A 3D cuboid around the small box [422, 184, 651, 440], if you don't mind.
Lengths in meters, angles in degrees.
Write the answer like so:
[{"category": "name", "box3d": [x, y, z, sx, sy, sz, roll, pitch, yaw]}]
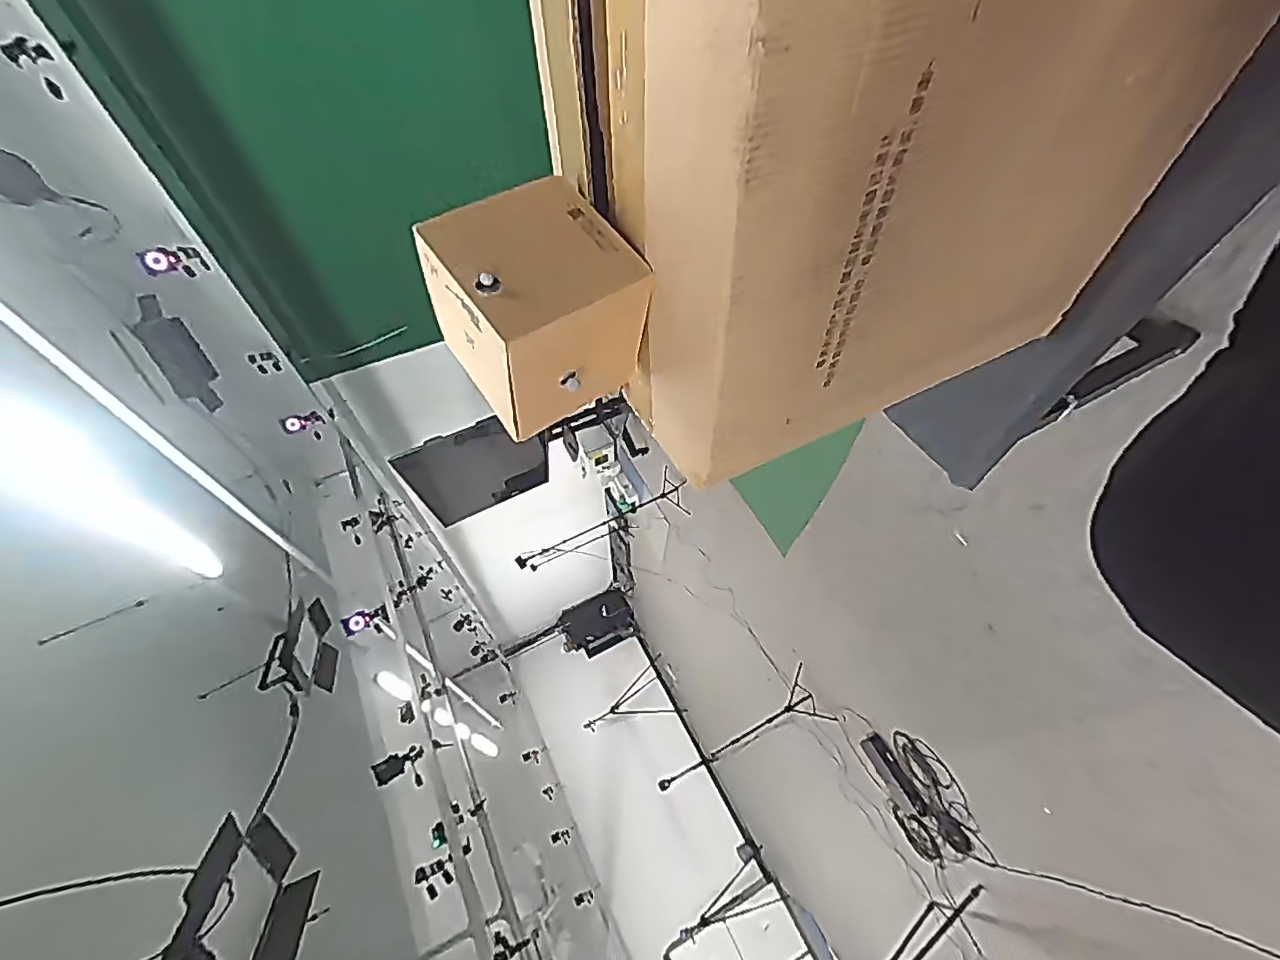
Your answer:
[{"category": "small box", "box3d": [-0.105, -0.181, 0.598, 0.168, 0.176, 0.179, 50, 159, 16]}]
